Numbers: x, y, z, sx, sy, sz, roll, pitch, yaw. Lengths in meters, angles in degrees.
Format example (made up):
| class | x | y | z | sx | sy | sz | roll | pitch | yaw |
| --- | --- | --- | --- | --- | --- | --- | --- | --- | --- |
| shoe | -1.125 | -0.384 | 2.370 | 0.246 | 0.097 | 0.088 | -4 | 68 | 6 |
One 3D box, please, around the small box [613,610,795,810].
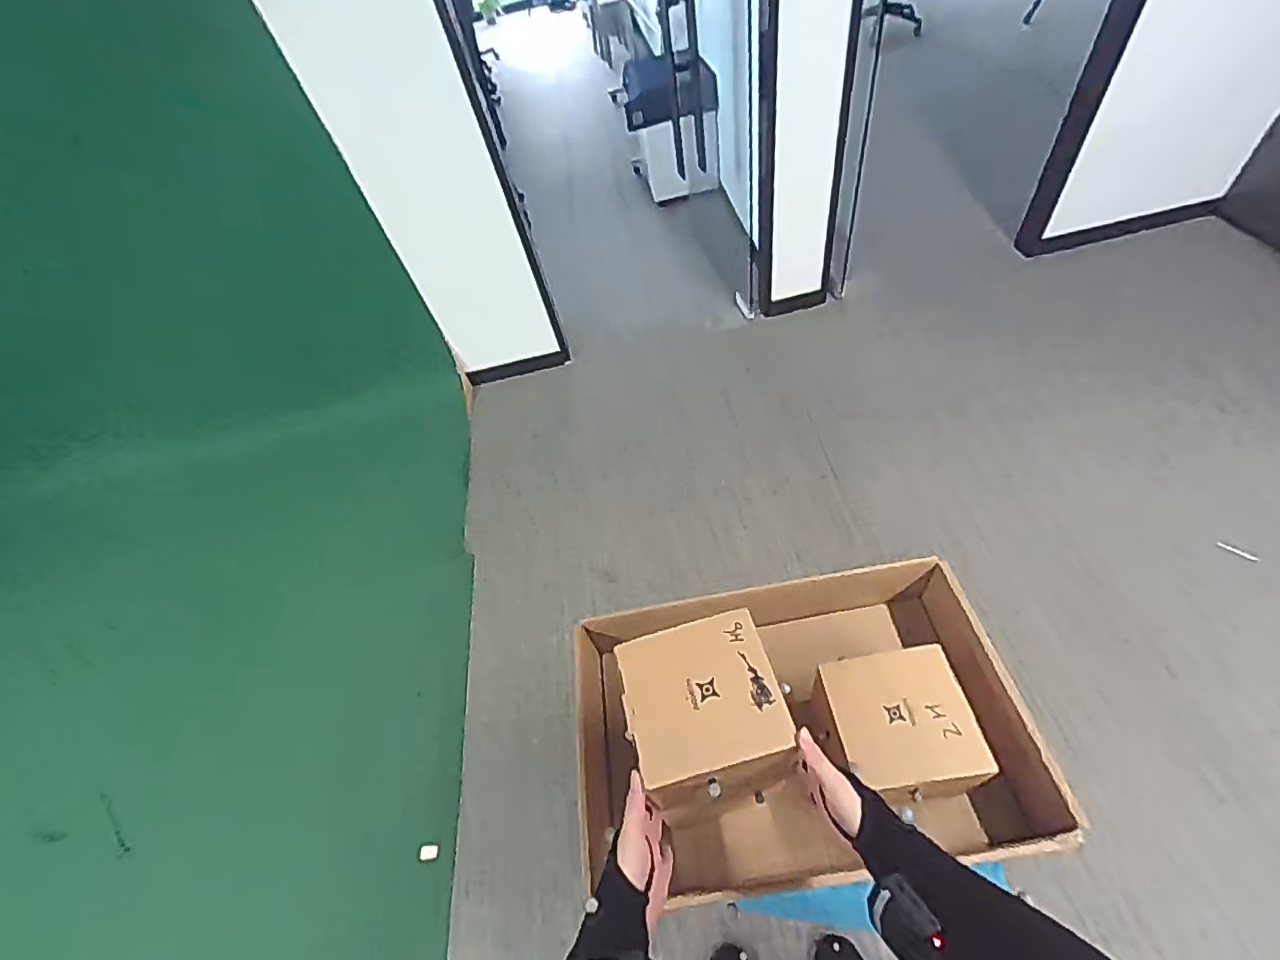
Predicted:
| class | x | y | z | sx | sy | sz | roll | pitch | yaw |
| --- | --- | --- | --- | --- | --- | --- | --- | --- | --- |
| small box | 0.079 | 0.292 | 0.677 | 0.179 | 0.176 | 0.168 | -16 | 51 | -1 |
